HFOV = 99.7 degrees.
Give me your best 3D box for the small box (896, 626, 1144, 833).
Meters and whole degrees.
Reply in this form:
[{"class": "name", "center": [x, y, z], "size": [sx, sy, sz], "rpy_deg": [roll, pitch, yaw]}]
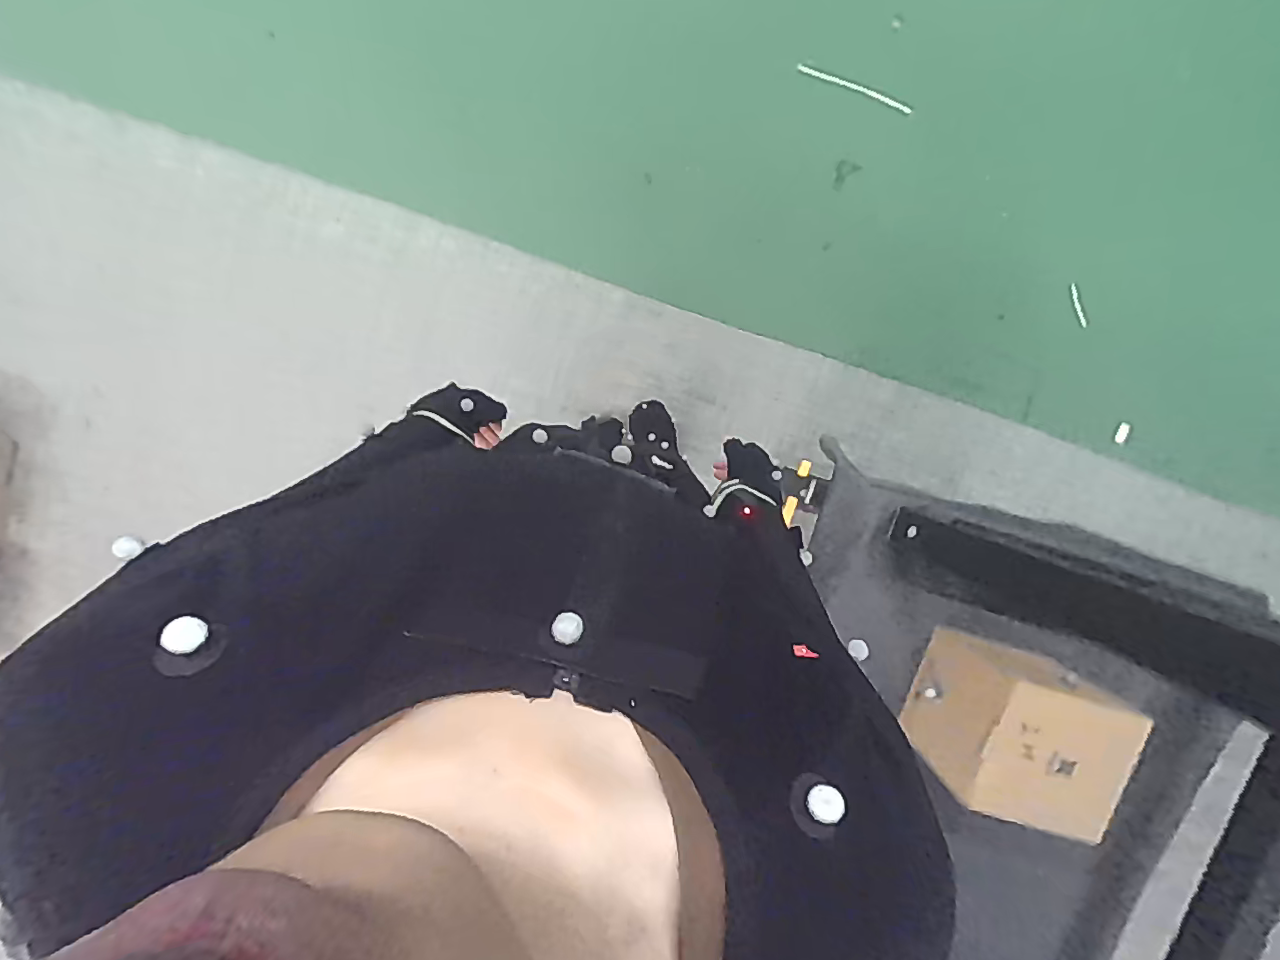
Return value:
[{"class": "small box", "center": [0.482, 0.315, 0.715], "size": [0.179, 0.176, 0.168], "rpy_deg": [18, 96, -3]}]
